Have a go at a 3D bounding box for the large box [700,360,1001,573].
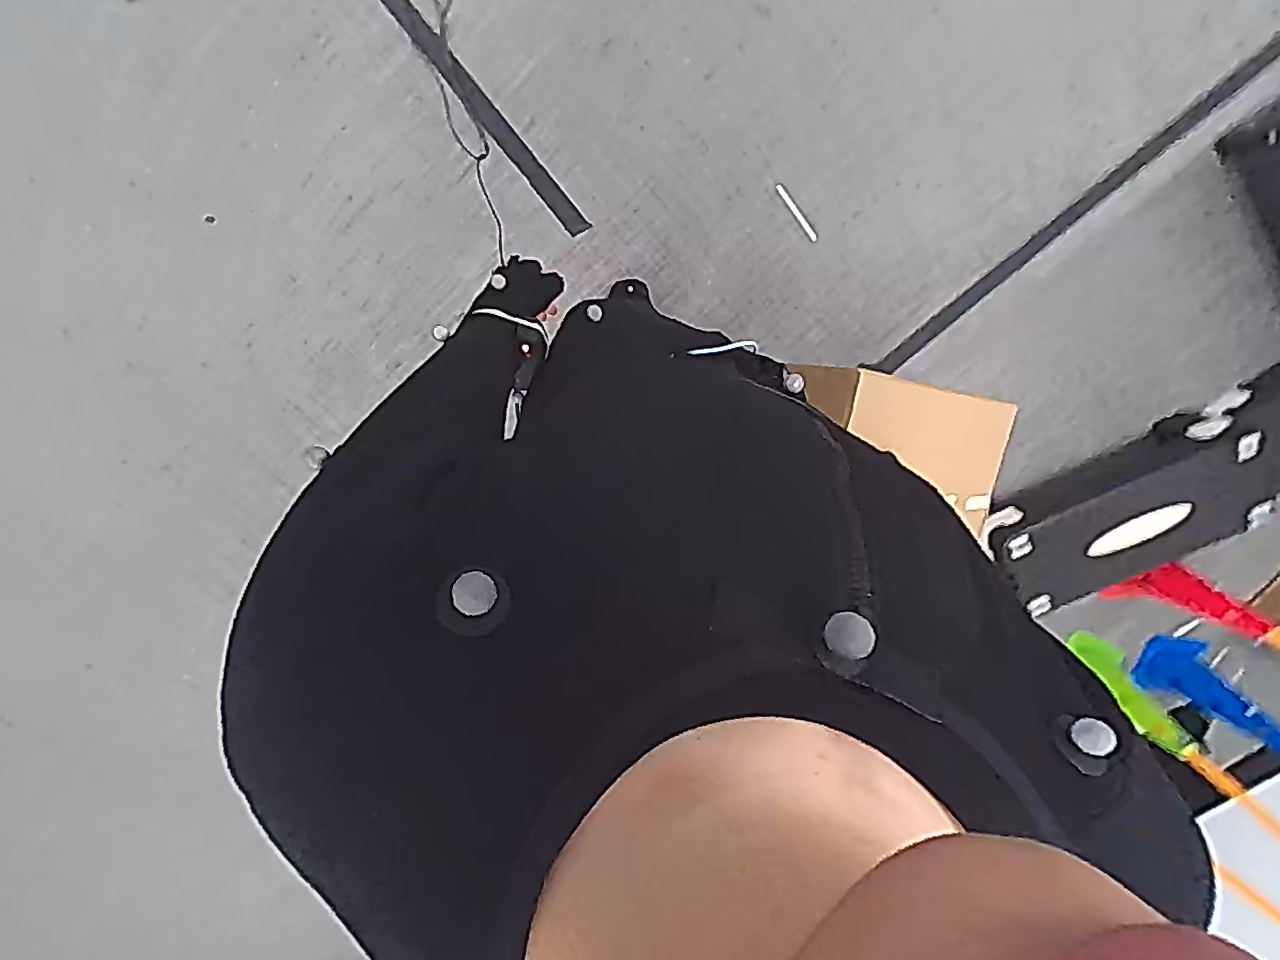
[{"bbox_3d":[0.351,-0.042,1.002,0.320,0.408,0.320,6,102,-19],"label":"large box"}]
